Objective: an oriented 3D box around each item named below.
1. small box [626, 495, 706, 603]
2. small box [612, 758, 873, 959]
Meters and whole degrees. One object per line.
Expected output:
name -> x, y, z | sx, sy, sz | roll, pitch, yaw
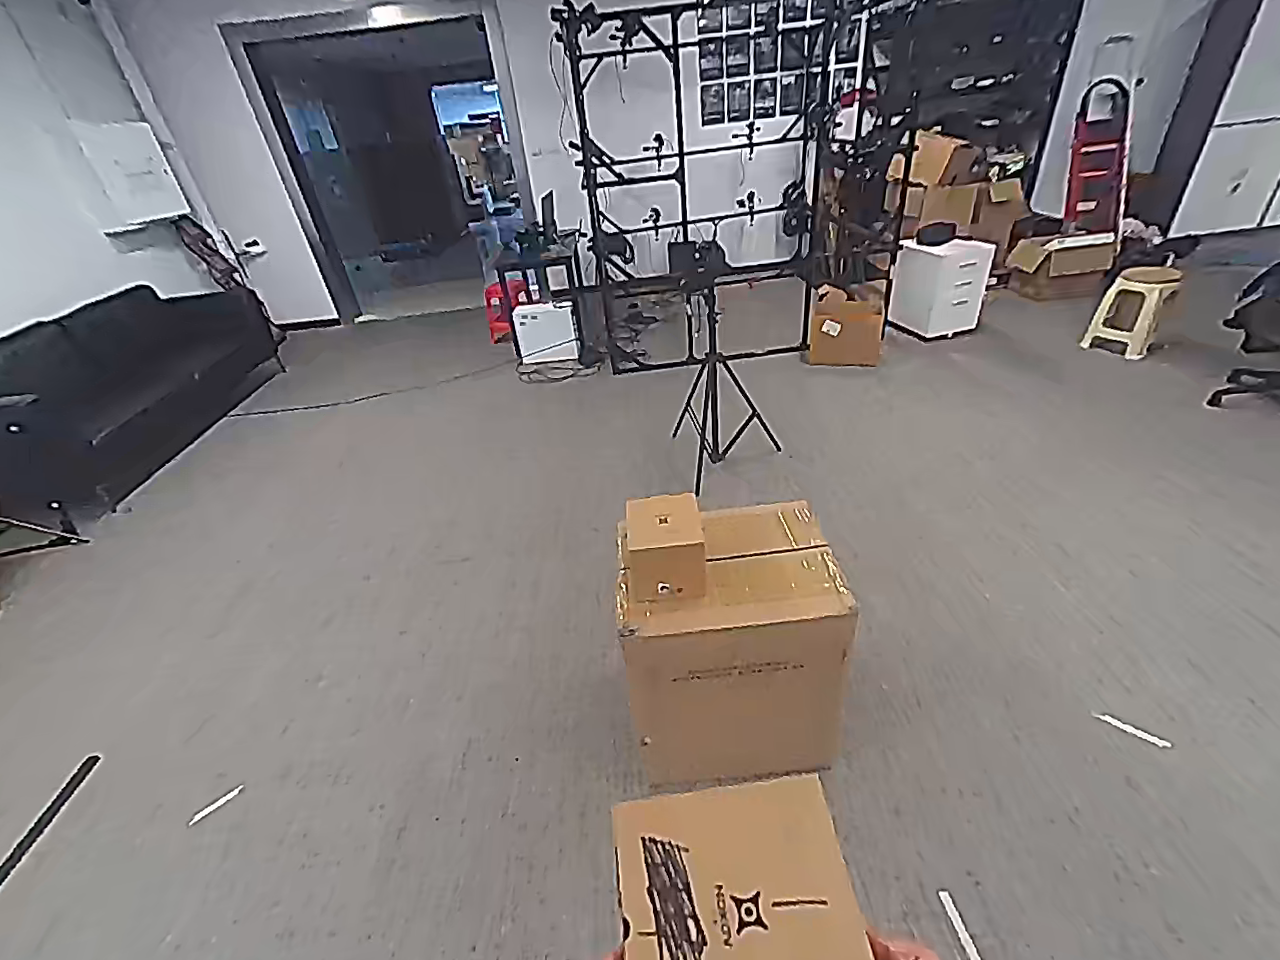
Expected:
small box -> 0.059, 0.159, 1.251 | 0.168, 0.176, 0.179 | -7, 37, 1
small box -> 0.078, 0.362, 0.461 | 0.179, 0.176, 0.168 | -9, 46, 0
